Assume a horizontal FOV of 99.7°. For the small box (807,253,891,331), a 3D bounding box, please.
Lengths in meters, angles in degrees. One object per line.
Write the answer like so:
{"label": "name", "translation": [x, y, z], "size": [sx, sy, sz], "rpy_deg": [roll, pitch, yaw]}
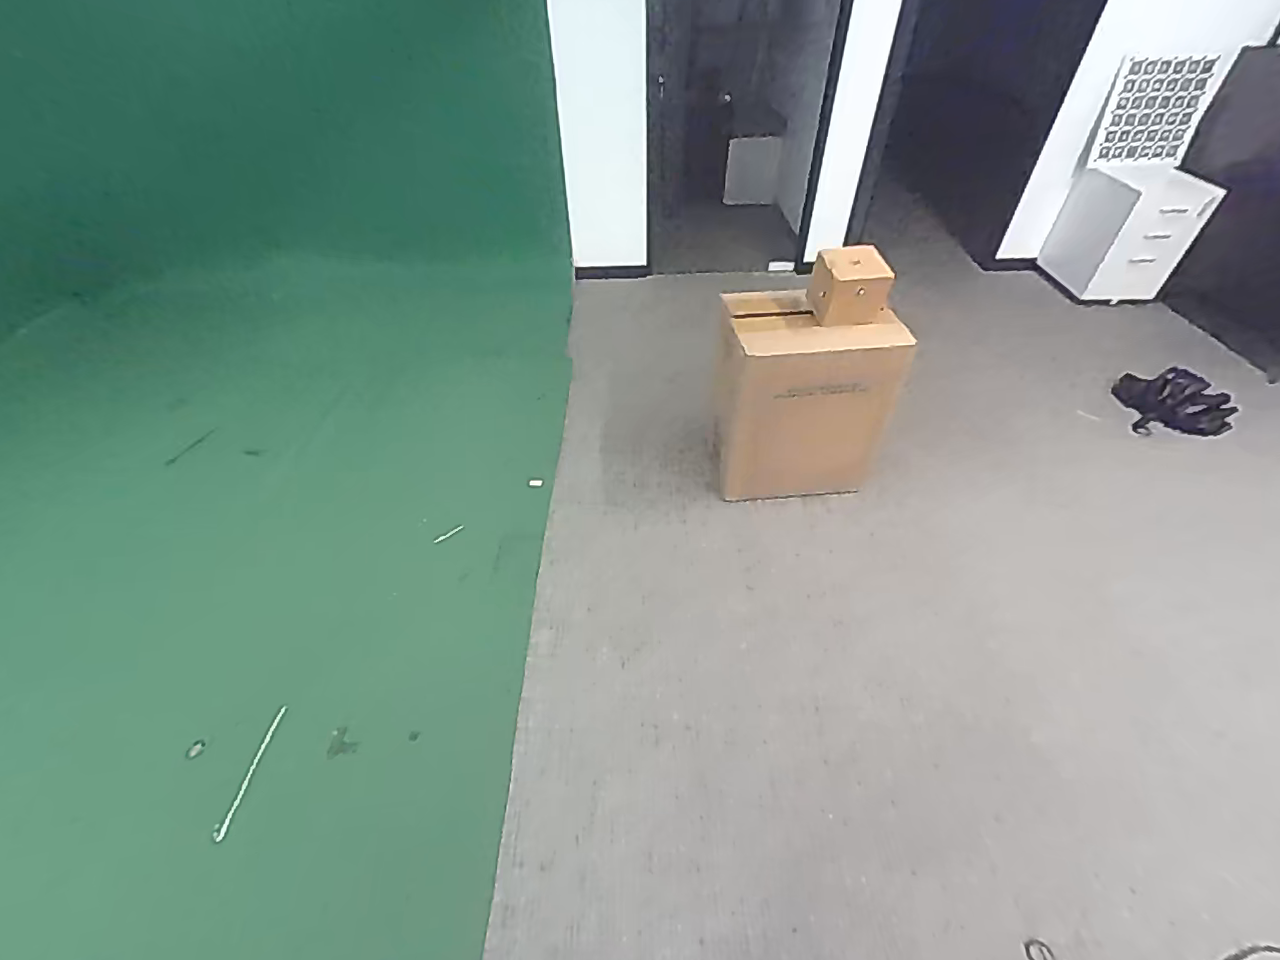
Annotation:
{"label": "small box", "translation": [0.634, -0.580, 1.673], "size": [0.179, 0.176, 0.168], "rpy_deg": [-6, 54, -7]}
